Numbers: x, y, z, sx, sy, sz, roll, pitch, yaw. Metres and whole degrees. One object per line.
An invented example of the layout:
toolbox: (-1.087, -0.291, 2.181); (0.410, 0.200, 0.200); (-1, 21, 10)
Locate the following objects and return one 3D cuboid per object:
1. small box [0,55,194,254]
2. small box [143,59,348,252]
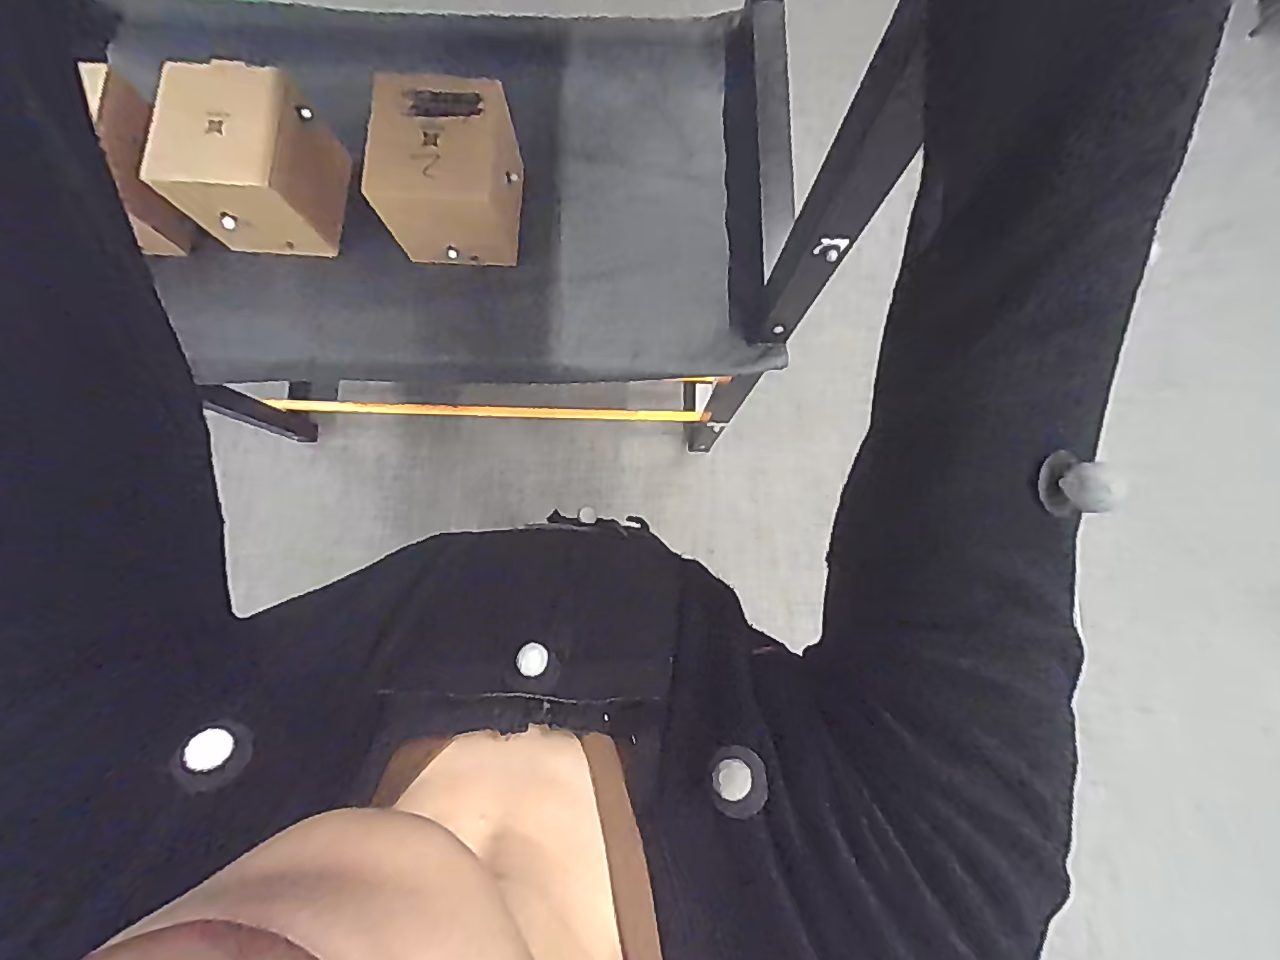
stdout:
small box: (-0.776, -0.452, 0.771); (0.168, 0.176, 0.179); (1, 82, -1)
small box: (-0.548, -0.454, 0.779); (0.168, 0.176, 0.179); (3, 81, -1)
